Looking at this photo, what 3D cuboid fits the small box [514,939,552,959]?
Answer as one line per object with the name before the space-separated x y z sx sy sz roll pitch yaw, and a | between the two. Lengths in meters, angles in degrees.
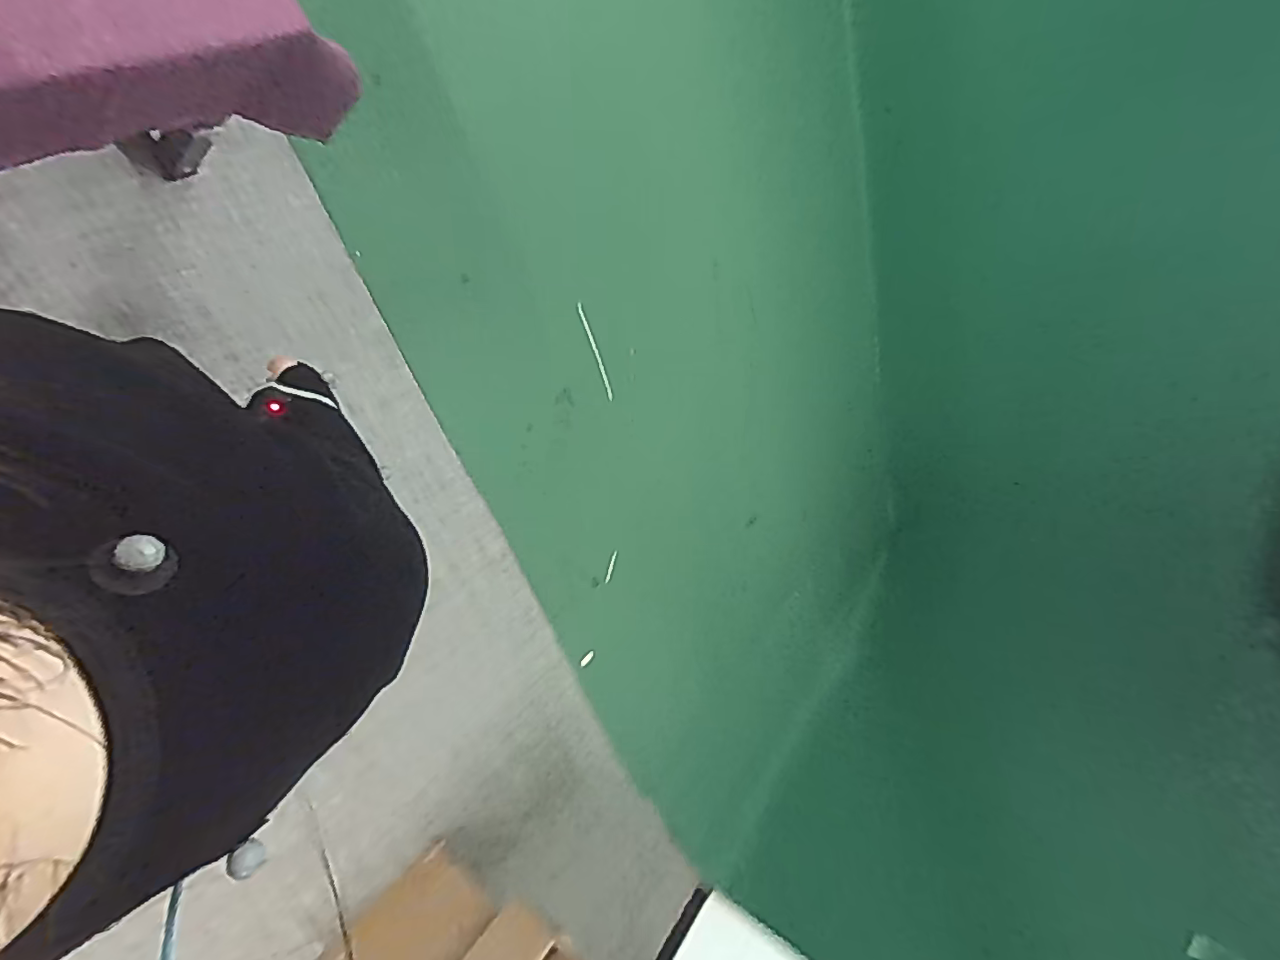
small box | -0.270 1.343 1.383 0.179 0.176 0.168 -38 122 -35
